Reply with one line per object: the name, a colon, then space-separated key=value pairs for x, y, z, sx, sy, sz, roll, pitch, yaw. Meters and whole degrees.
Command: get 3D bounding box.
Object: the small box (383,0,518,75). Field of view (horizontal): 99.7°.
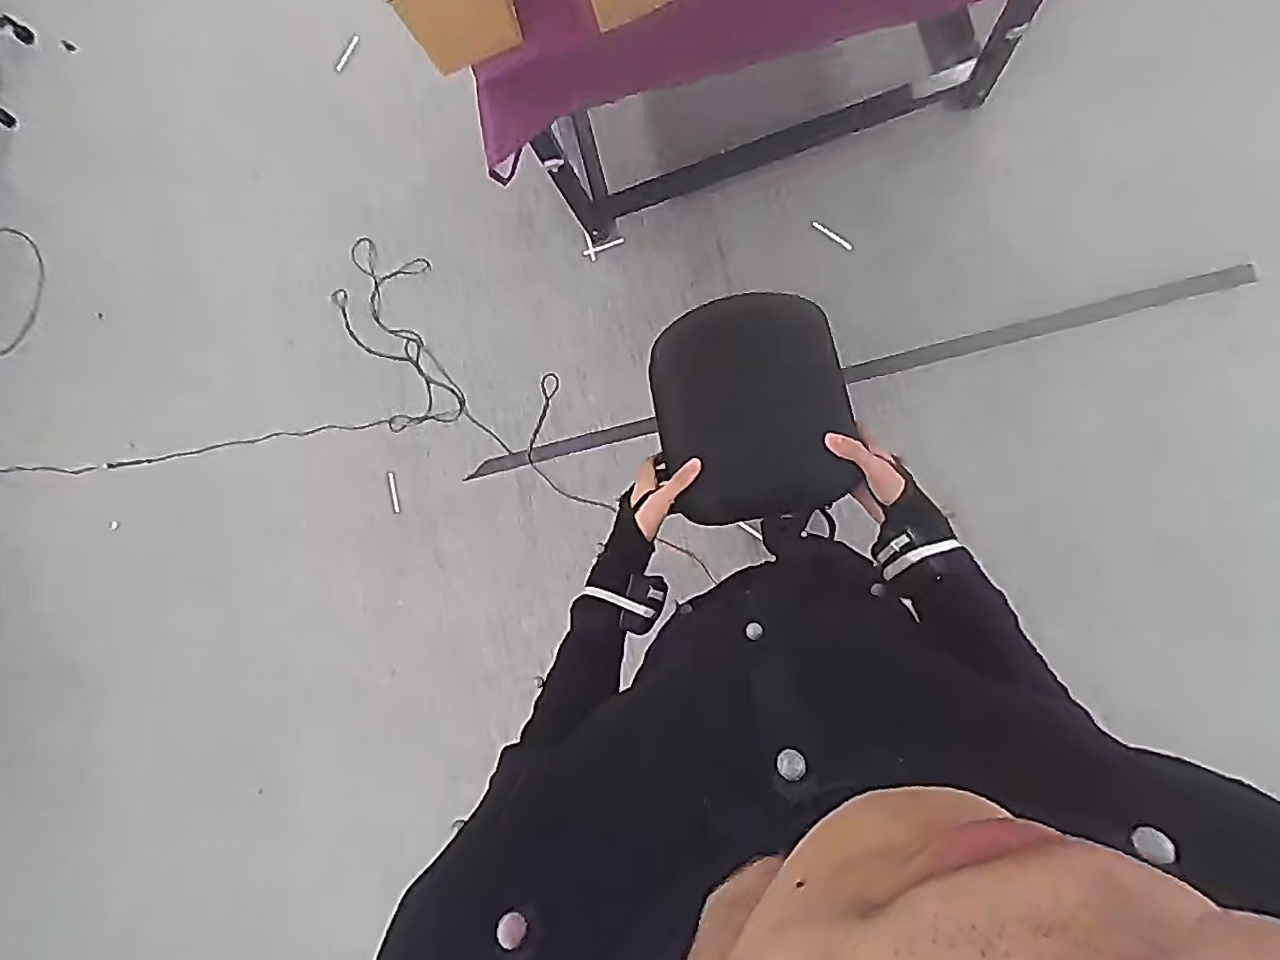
small box: x=-0.343 y=-0.877 z=0.960 sx=0.179 sy=0.176 sz=0.168 roll=-16 pitch=85 yaw=10
